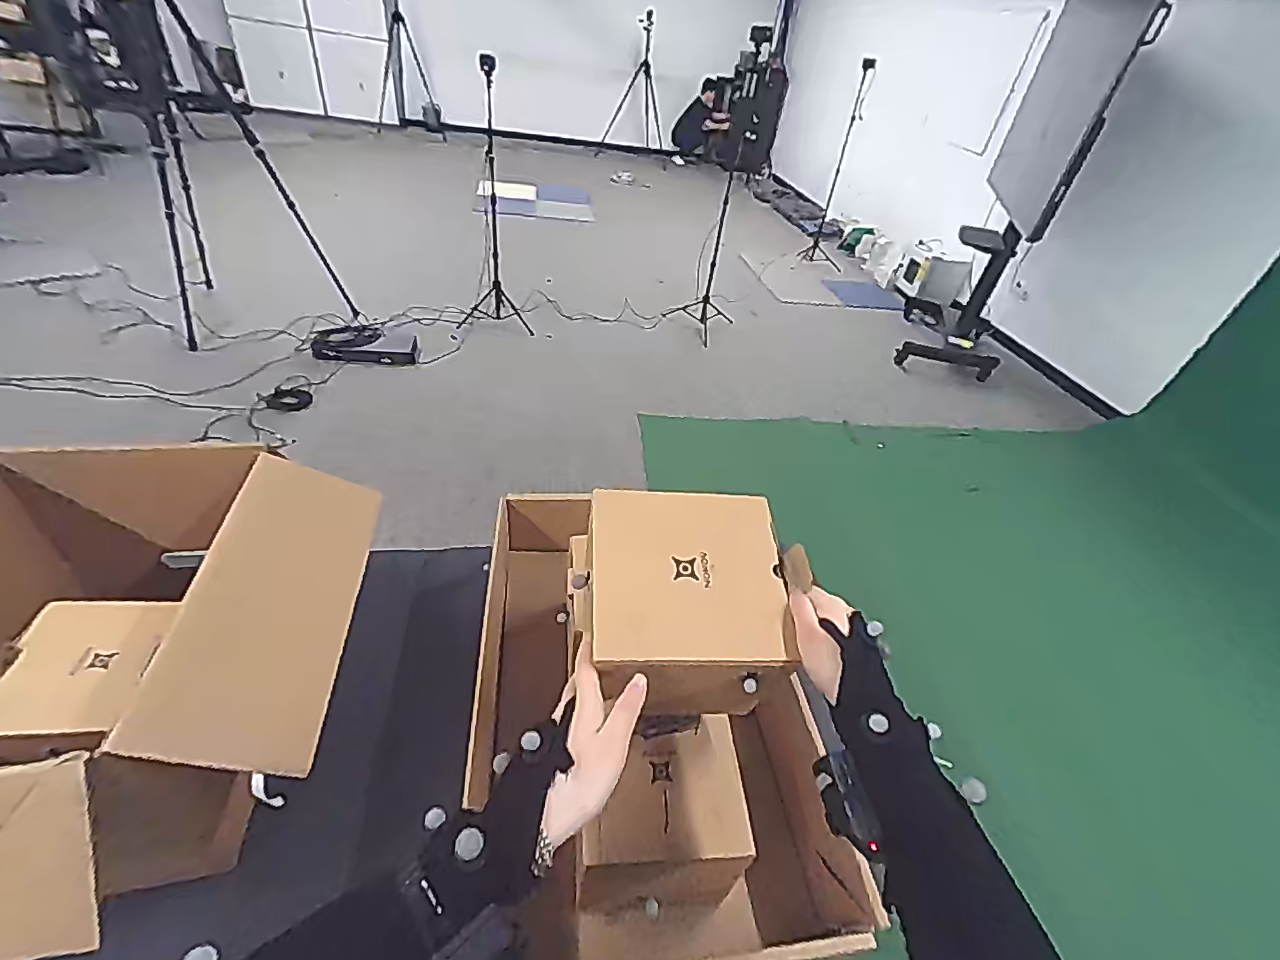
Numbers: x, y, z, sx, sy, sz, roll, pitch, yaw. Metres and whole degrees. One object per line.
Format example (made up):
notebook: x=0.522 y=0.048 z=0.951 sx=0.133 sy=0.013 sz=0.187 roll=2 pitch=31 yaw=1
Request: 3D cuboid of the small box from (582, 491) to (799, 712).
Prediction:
small box: x=0.033 y=0.128 z=0.545 sx=0.179 sy=0.176 sz=0.168 roll=3 pitch=53 yaw=-9
